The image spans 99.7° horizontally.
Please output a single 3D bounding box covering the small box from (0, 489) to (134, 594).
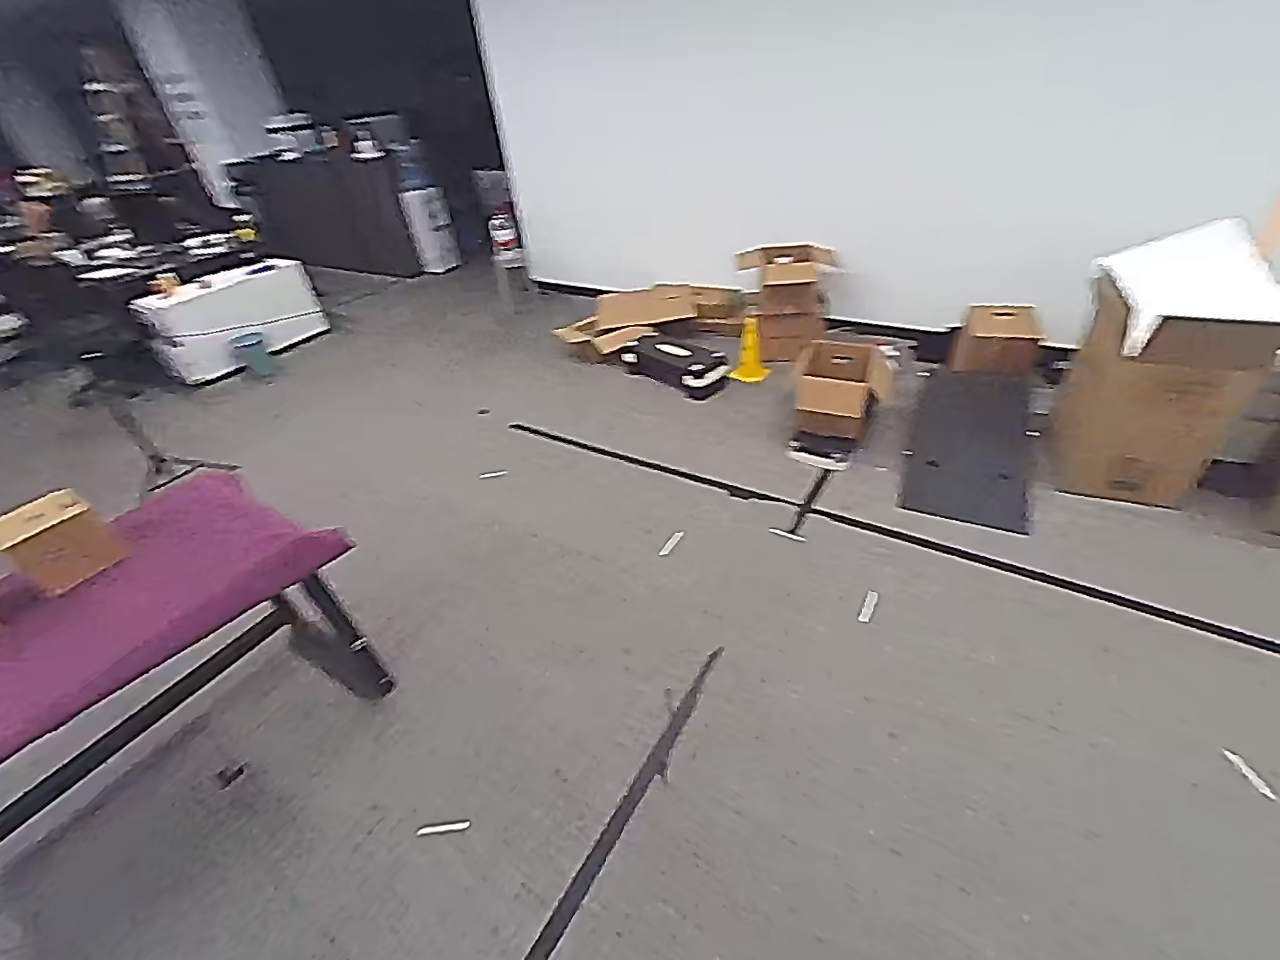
[{"bbox_3d":[-1.467,0.159,1.380,0.168,0.176,0.179,20,46,27],"label":"small box"}]
